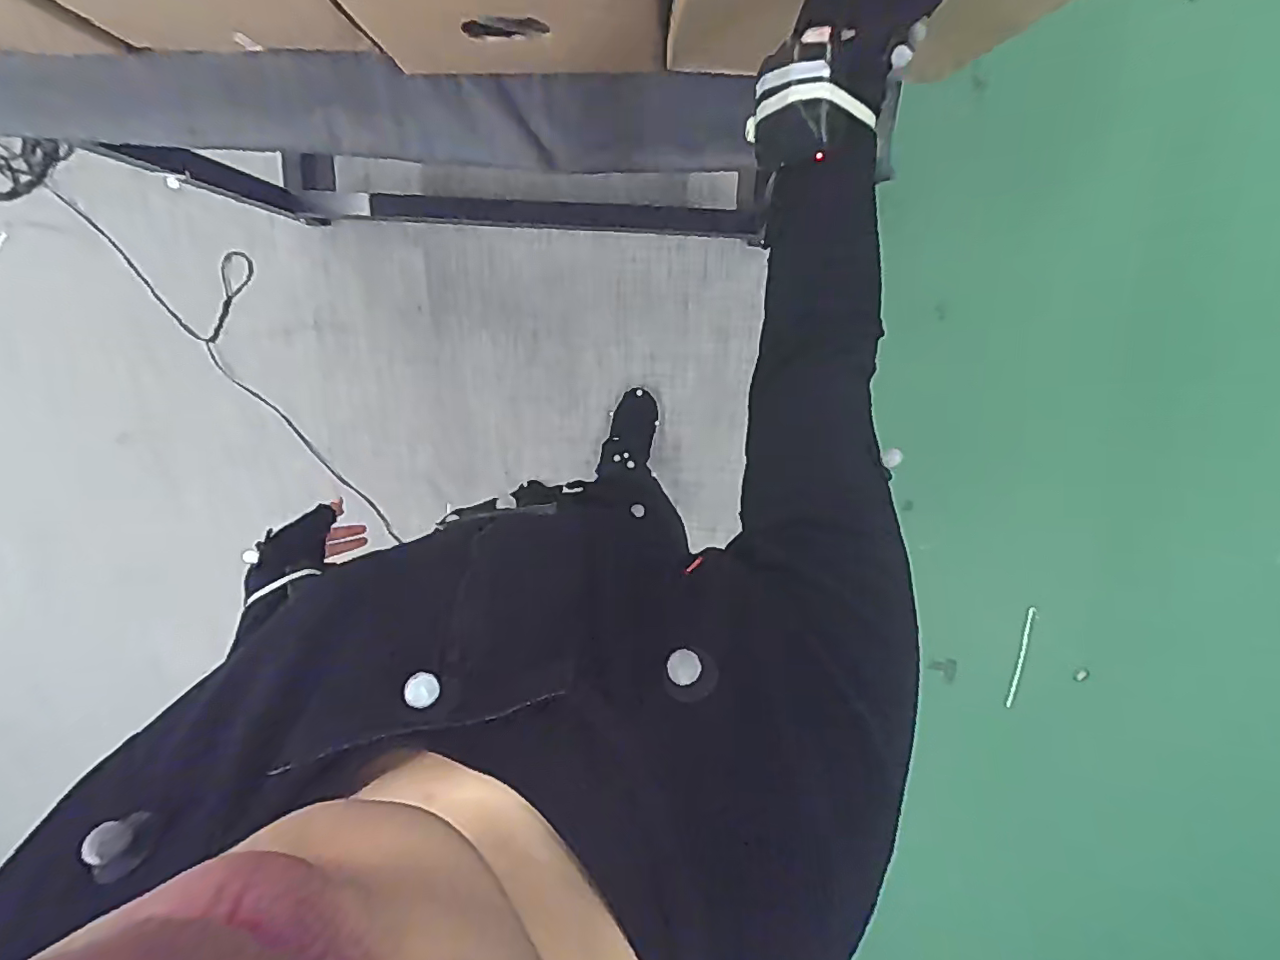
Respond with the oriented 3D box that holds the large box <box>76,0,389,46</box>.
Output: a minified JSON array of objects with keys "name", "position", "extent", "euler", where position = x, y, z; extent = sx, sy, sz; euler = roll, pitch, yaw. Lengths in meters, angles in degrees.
[{"name":"large box","position":[-0.445,-0.674,0.451],"extent":[0.320,0.320,0.408],"euler":[3,104,4]}]
